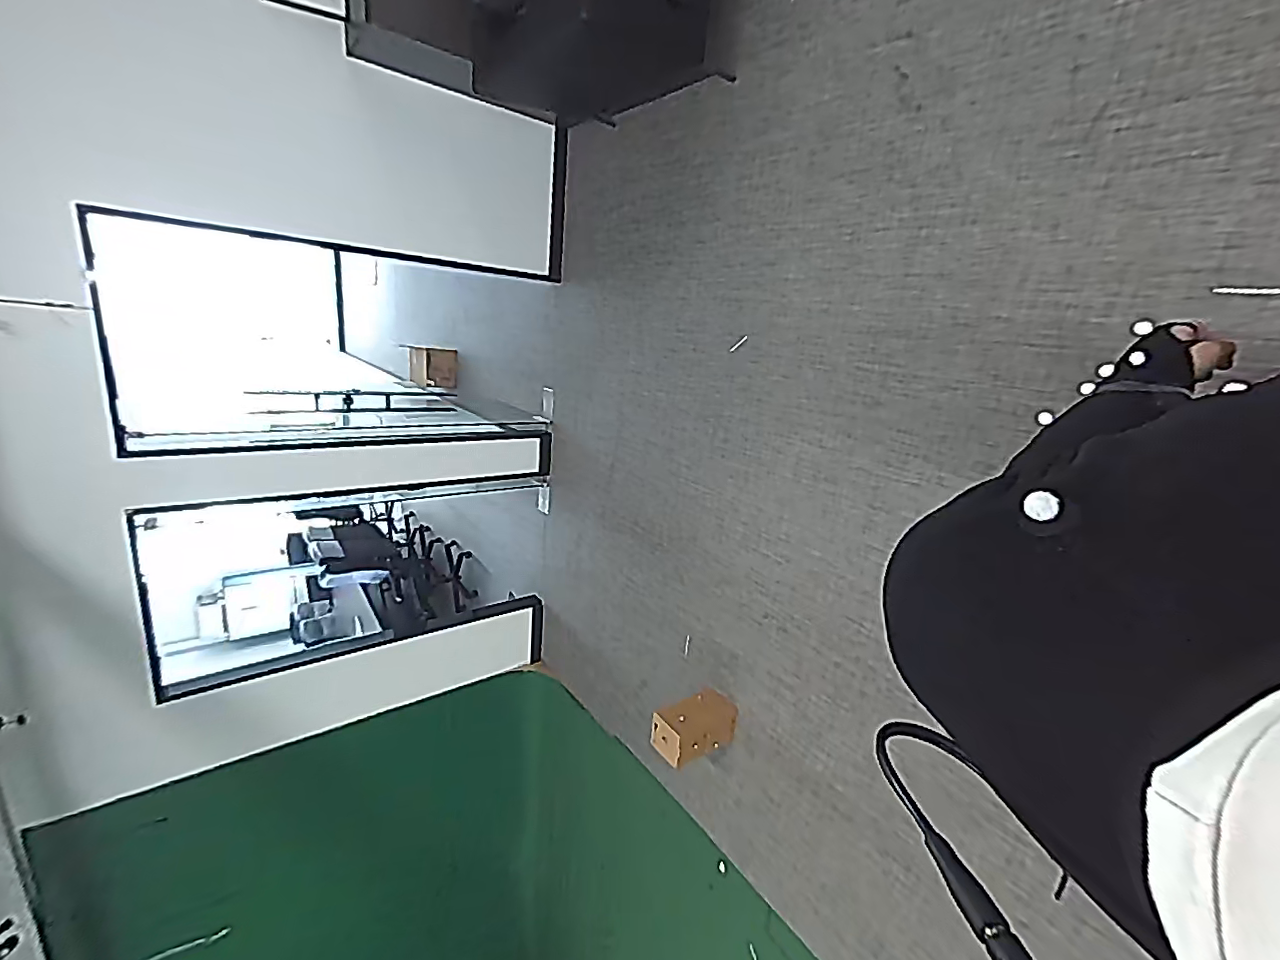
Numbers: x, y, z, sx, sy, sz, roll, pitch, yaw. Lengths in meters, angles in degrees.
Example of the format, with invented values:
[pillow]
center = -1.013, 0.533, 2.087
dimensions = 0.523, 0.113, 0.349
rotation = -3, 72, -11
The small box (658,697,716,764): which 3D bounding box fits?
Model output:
[small box]
center = 0.203, 1.061, 2.309
dimensions = 0.179, 0.176, 0.168
rotation = 25, 114, 49
